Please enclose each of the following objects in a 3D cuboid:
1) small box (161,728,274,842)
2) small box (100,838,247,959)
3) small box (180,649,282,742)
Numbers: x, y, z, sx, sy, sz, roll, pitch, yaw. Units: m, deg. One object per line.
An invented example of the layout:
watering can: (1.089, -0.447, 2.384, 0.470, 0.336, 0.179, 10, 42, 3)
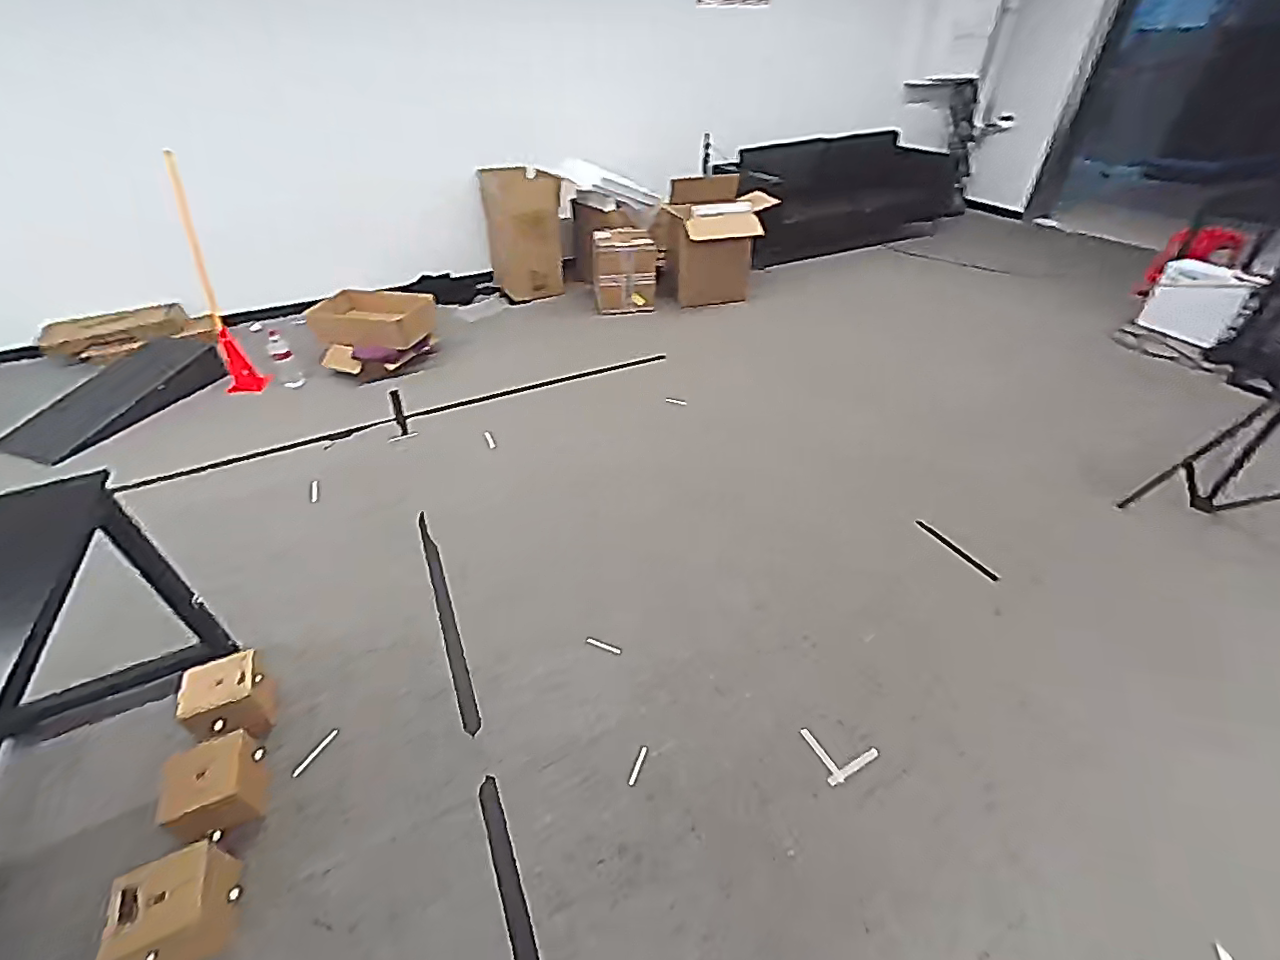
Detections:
small box: (-1.062, 0.780, 1.375, 0.168, 0.176, 0.179, -19, 42, -19)
small box: (-1.001, 0.934, 1.177, 0.179, 0.176, 0.168, -17, 42, -20)
small box: (-1.172, 0.632, 1.562, 0.179, 0.176, 0.168, -18, 42, -20)
